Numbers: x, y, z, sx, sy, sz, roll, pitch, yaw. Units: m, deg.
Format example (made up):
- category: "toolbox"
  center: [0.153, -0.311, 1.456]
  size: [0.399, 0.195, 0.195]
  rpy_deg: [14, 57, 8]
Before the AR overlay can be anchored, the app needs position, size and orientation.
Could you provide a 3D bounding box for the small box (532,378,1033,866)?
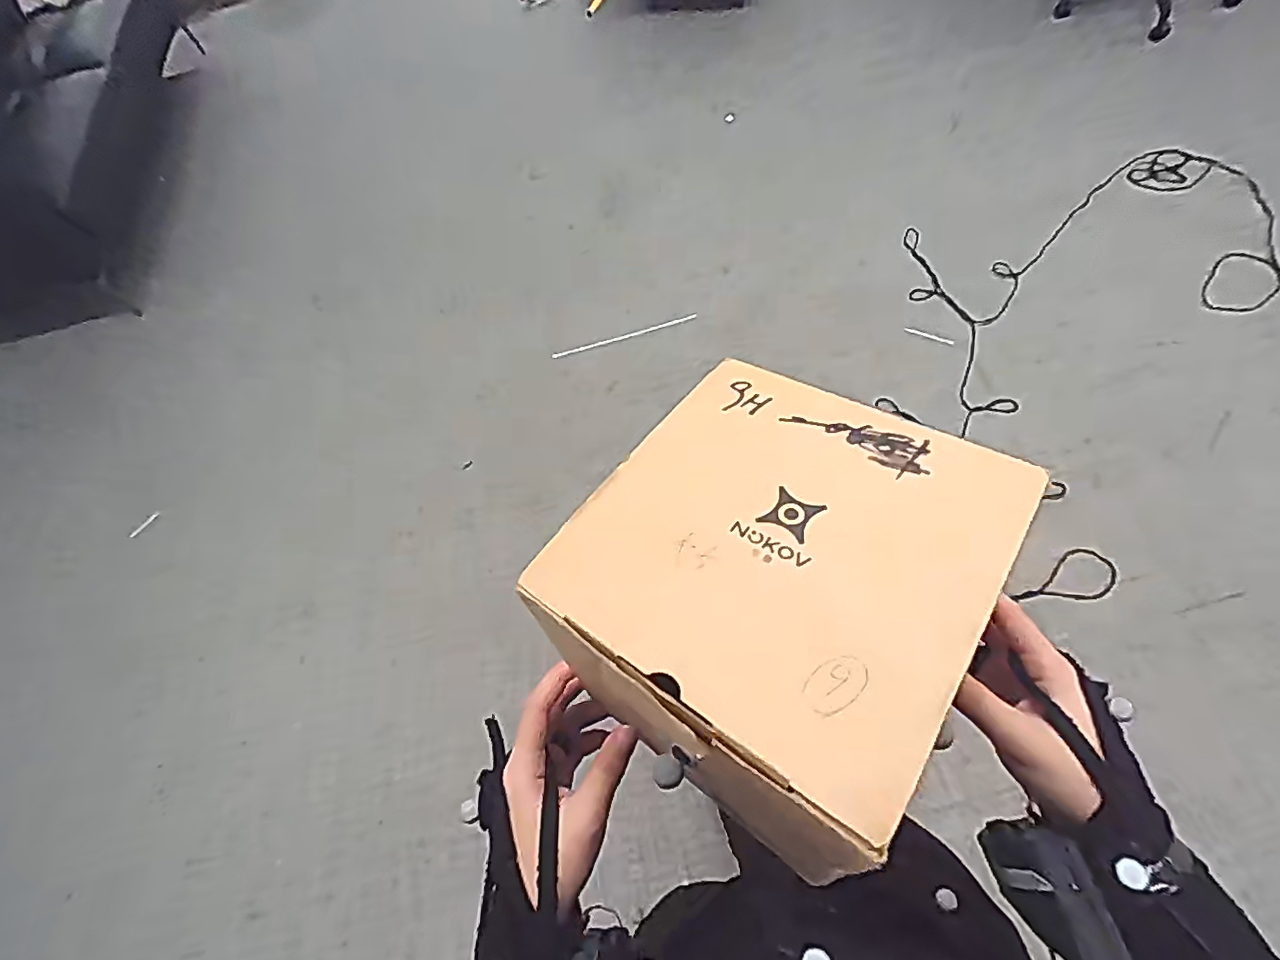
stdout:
- category: "small box"
  center: [0.075, 0.080, 0.307]
  size: [0.168, 0.176, 0.179]
  rpy_deg: [28, 61, 28]
